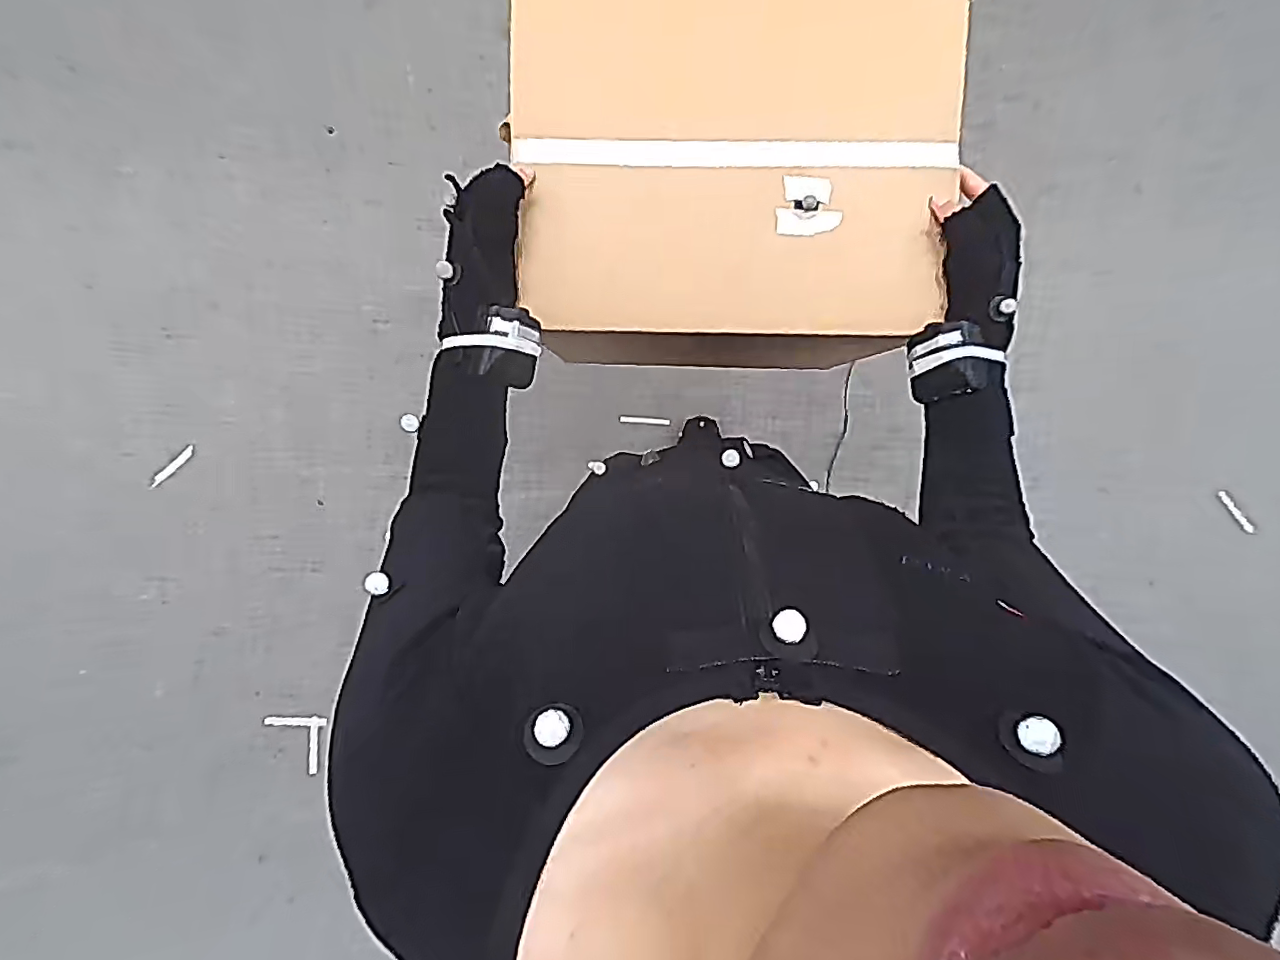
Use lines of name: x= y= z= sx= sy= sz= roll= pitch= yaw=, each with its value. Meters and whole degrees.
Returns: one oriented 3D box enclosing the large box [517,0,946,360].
large box: x=0.083 y=-0.322 z=0.659 sx=0.408 sy=0.320 sz=0.320 roll=0 pitch=97 yaw=-1
